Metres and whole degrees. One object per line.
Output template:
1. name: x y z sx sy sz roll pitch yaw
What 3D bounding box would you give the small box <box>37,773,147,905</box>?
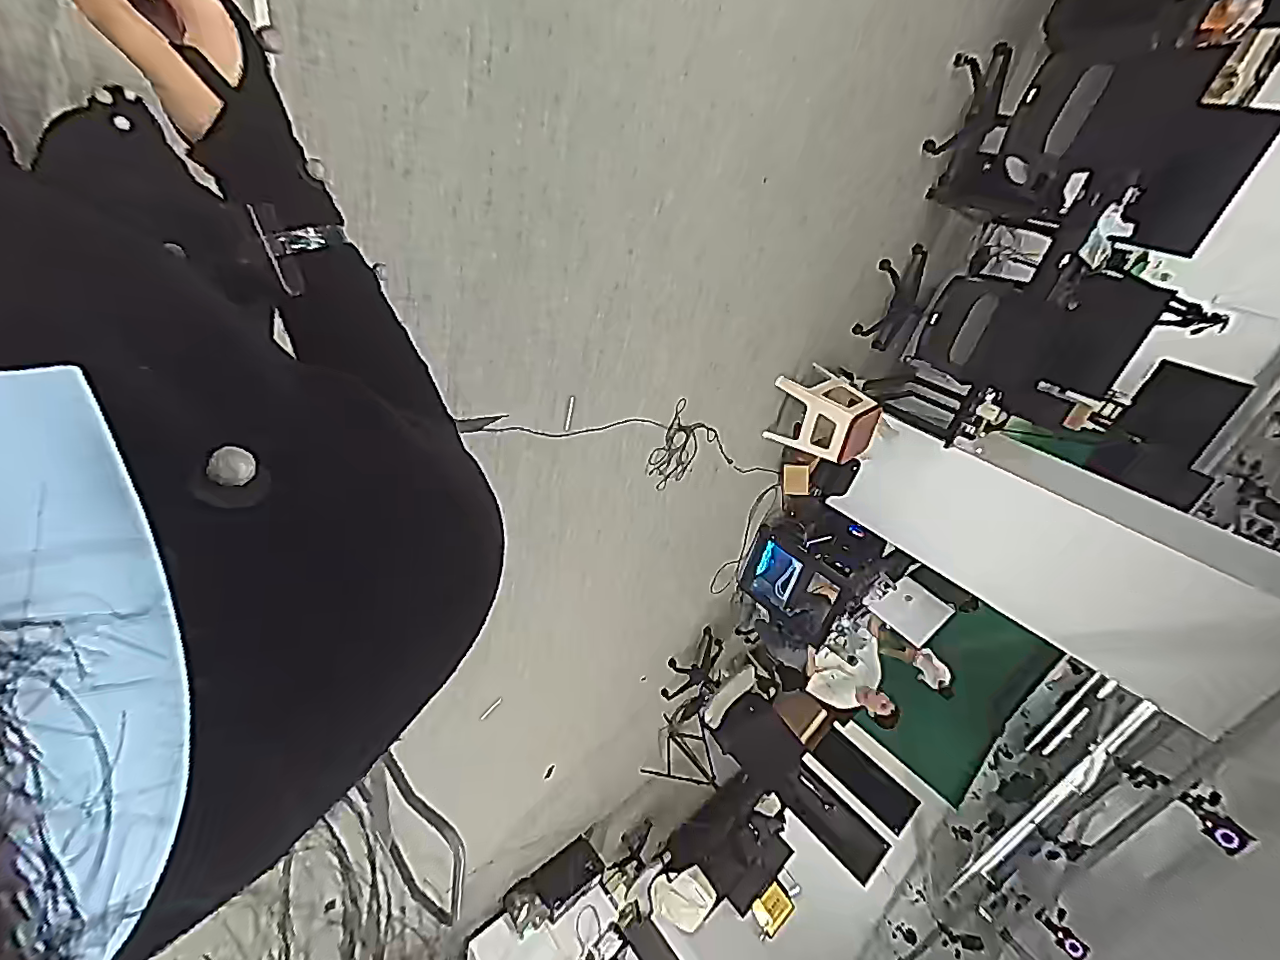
1. small box: -1.326 0.861 1.312 0.168 0.176 0.179 -12 128 -45
